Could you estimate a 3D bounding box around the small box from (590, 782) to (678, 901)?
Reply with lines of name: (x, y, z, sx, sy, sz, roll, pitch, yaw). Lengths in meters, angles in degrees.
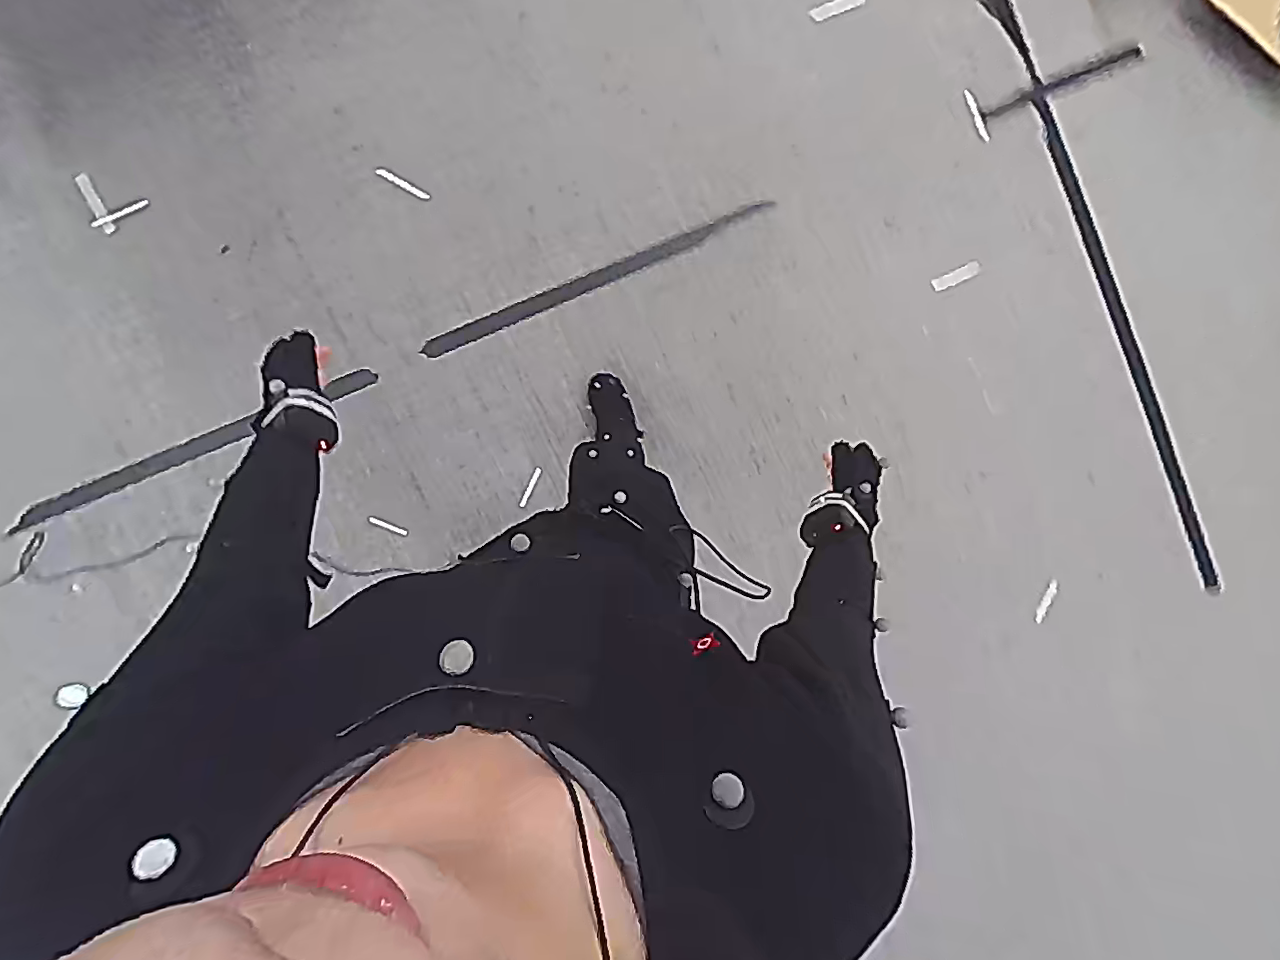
small box: (-0.020, 0.943, 1.434, 0.168, 0.176, 0.179, -29, 96, 0)
